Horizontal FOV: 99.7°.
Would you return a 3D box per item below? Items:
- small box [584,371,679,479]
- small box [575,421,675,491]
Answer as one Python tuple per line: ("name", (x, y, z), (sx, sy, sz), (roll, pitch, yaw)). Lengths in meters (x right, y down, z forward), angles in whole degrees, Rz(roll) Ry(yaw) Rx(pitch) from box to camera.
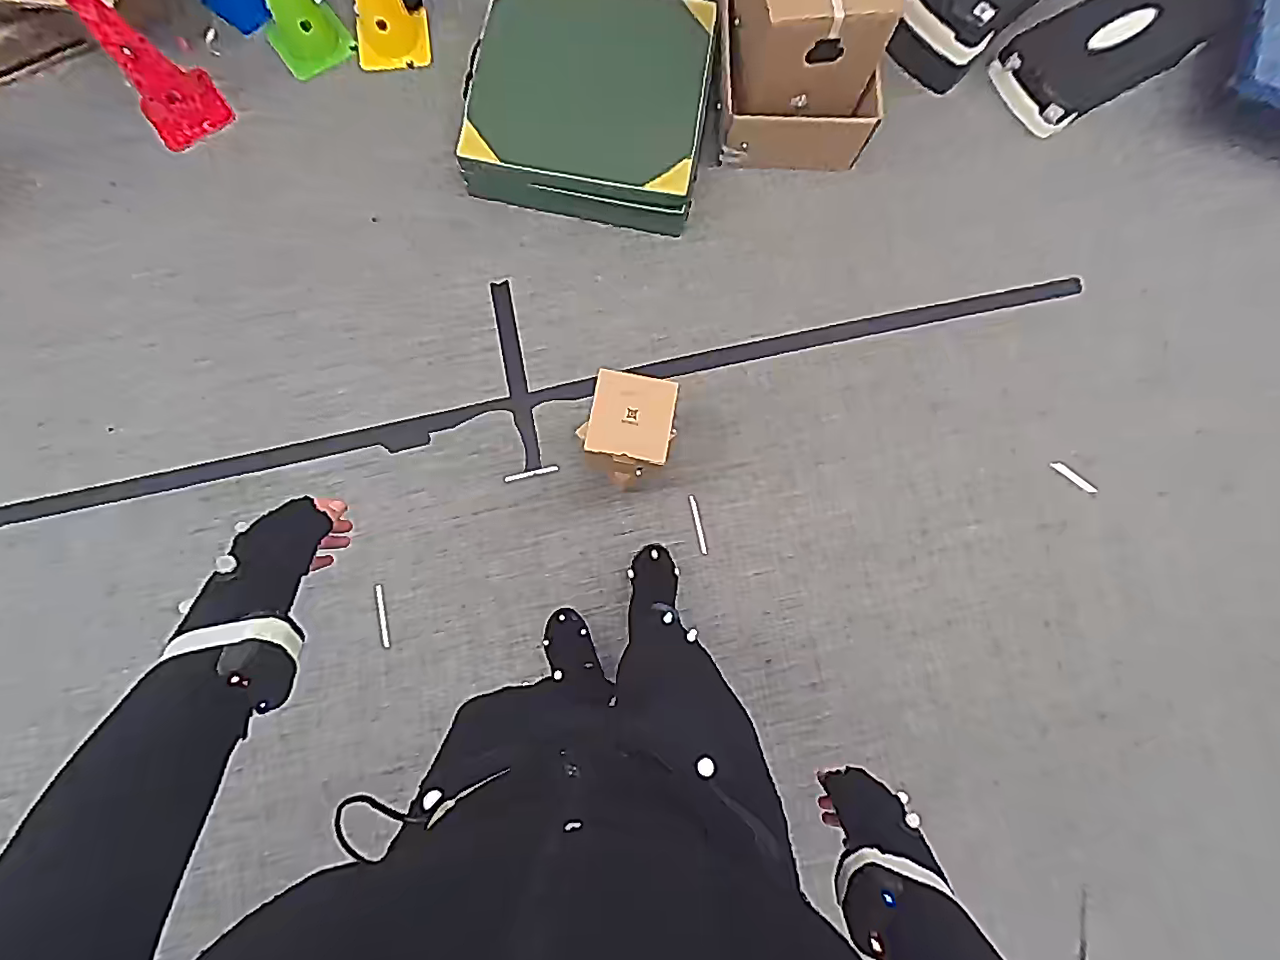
("small box", (-0.020, -0.108, 1.157), (0.168, 0.176, 0.179), (11, 80, -2))
("small box", (-0.034, -0.092, 1.322), (0.168, 0.176, 0.179), (44, 81, 5))
